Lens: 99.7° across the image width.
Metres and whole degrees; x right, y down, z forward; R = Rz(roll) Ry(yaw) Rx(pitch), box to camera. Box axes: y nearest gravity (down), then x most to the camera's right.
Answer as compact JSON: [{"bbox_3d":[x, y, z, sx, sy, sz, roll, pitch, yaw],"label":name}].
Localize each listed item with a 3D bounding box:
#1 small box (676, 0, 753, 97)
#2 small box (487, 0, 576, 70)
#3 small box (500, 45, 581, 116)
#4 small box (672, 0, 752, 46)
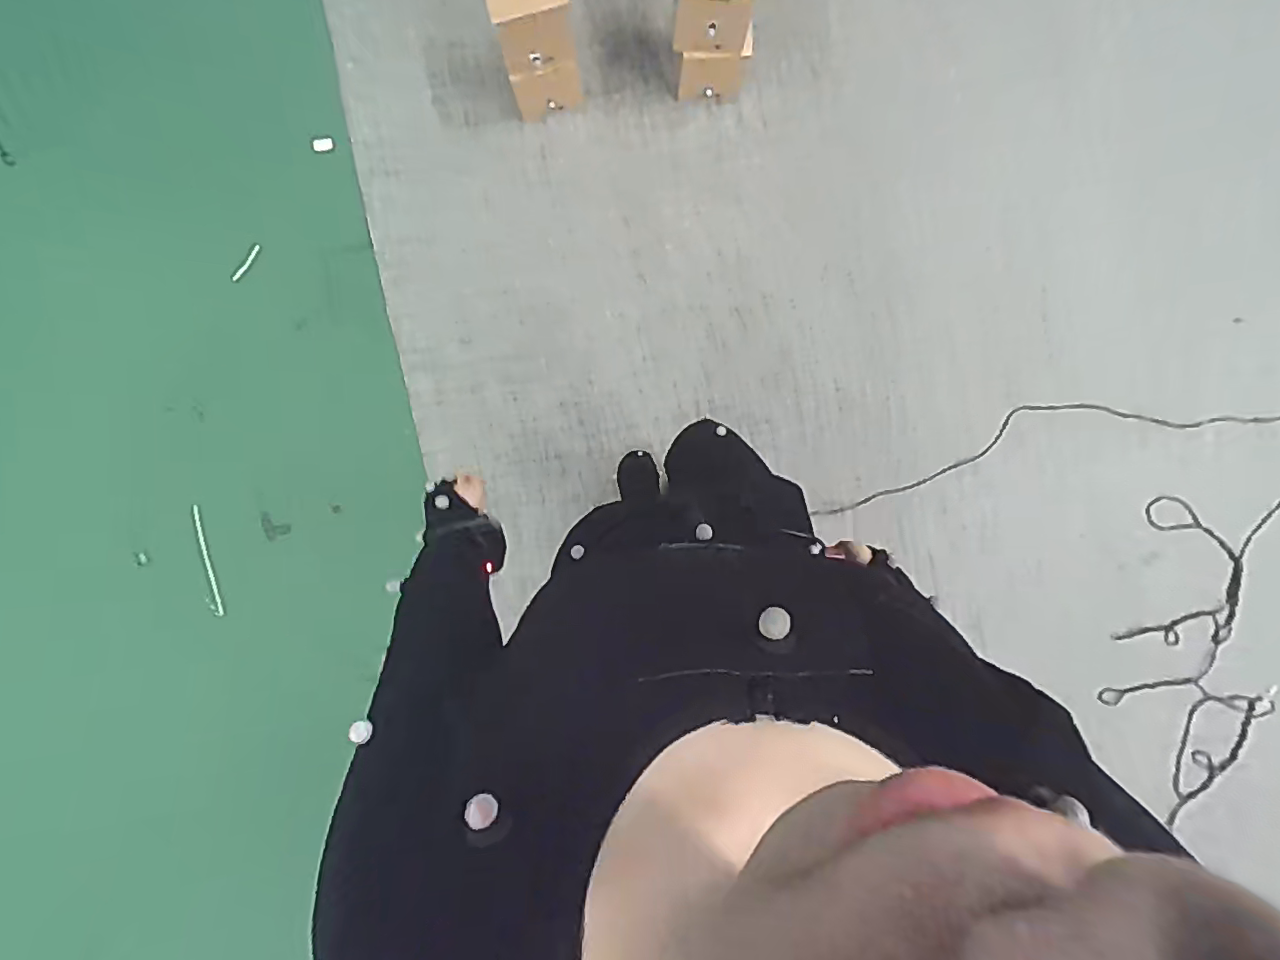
[{"bbox_3d":[0.177,-1.081,1.323,0.168,0.176,0.179,-2,95,0],"label":"small box"},{"bbox_3d":[-0.243,-1.038,1.159,0.168,0.176,0.179,-15,94,1],"label":"small box"},{"bbox_3d":[-0.250,-1.044,1.321,0.168,0.176,0.179,-16,94,0],"label":"small box"},{"bbox_3d":[0.159,-1.078,1.160,0.168,0.176,0.179,2,95,-1],"label":"small box"}]
